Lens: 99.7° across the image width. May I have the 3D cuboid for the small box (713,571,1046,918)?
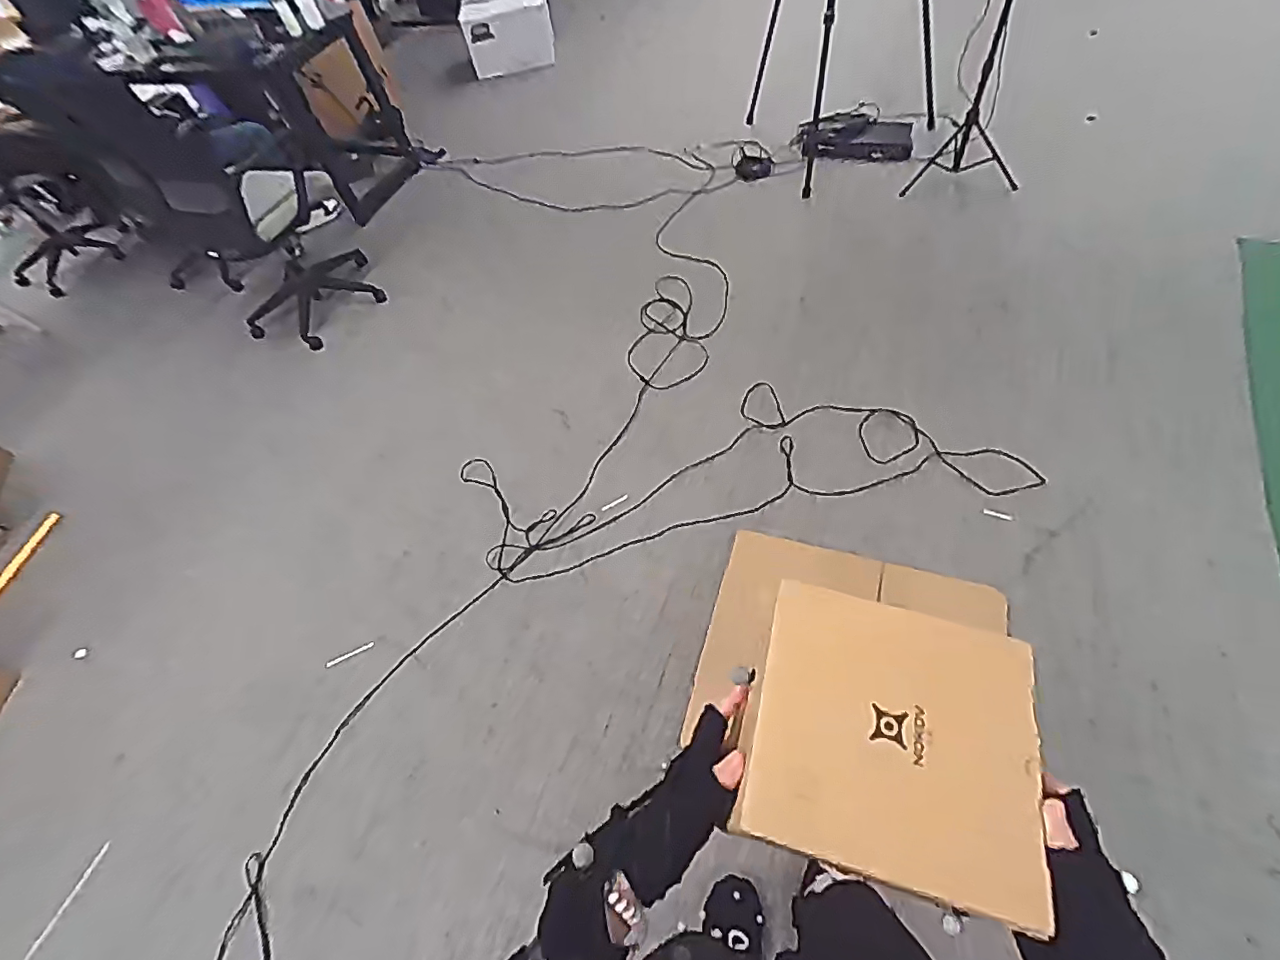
[{"bbox_3d":[0.162,0.195,0.414,0.179,0.176,0.168,15,60,9],"label":"small box"}]
